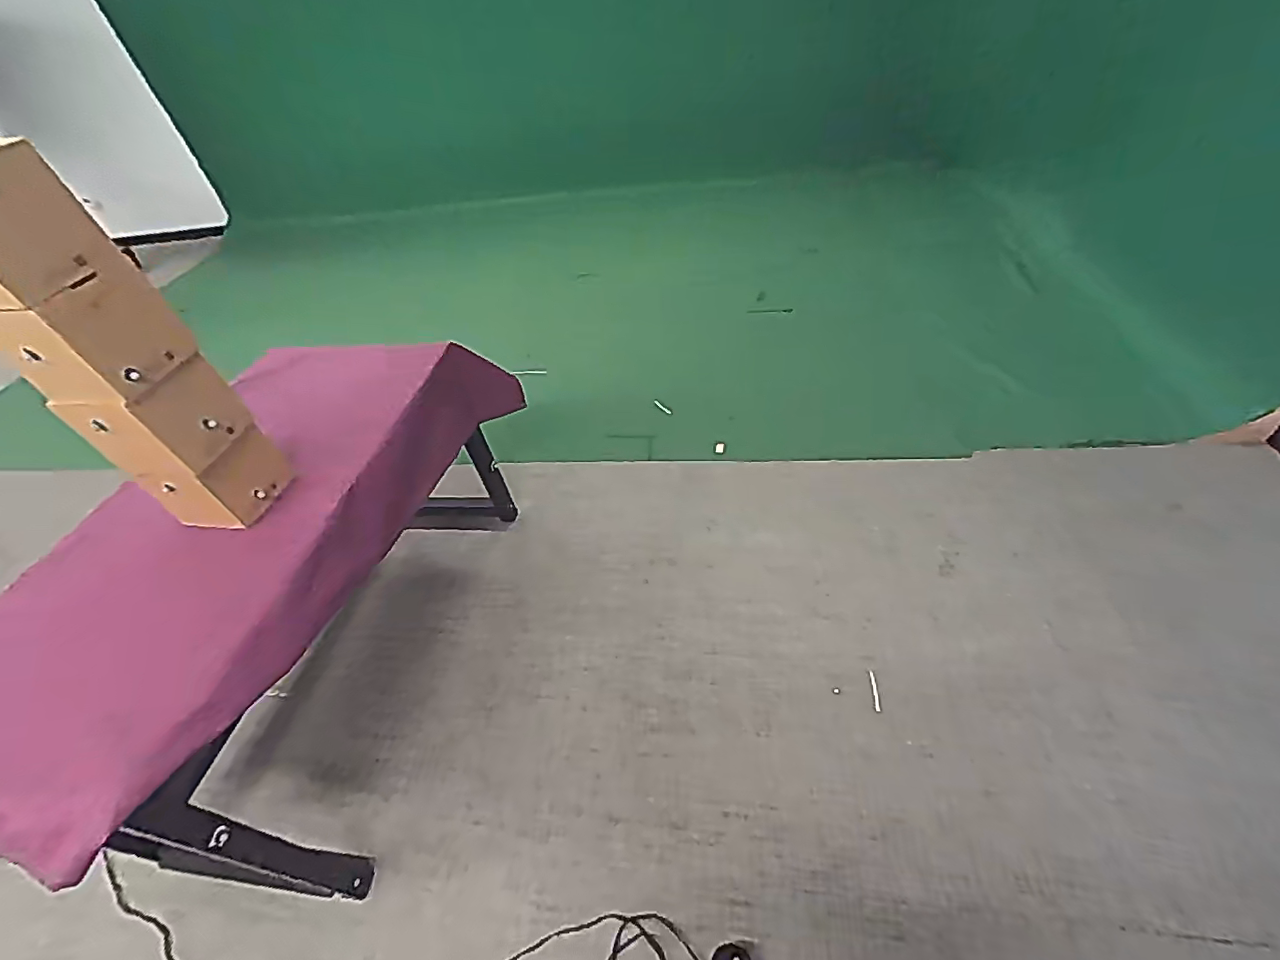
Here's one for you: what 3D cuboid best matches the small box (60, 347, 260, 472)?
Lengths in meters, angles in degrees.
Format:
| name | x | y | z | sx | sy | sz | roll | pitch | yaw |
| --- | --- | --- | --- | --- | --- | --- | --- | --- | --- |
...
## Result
| name | x | y | z | sx | sy | sz | roll | pitch | yaw |
| --- | --- | --- | --- | --- | --- | --- | --- | --- | --- |
| small box | -0.872 | -0.130 | 1.003 | 0.179 | 0.176 | 0.168 | 3 | 48 | 13 |

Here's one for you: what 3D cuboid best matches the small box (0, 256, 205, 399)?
| name | x | y | z | sx | sy | sz | roll | pitch | yaw |
| --- | --- | --- | --- | --- | --- | --- | --- | --- | --- |
| small box | -0.884 | -0.246 | 0.887 | 0.179 | 0.176 | 0.168 | 2 | 47 | 14 |

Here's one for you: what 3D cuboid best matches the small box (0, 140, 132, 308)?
| name | x | y | z | sx | sy | sz | roll | pitch | yaw |
| --- | --- | --- | --- | --- | --- | --- | --- | --- | --- |
| small box | -0.911 | -0.359 | 0.771 | 0.179 | 0.176 | 0.168 | 3 | 48 | 15 |

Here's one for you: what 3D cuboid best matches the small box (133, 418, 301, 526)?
| name | x | y | z | sx | sy | sz | roll | pitch | yaw |
| --- | --- | --- | --- | --- | --- | --- | --- | --- | --- |
| small box | -0.865 | -0.021 | 1.125 | 0.179 | 0.176 | 0.168 | 4 | 48 | 14 |
